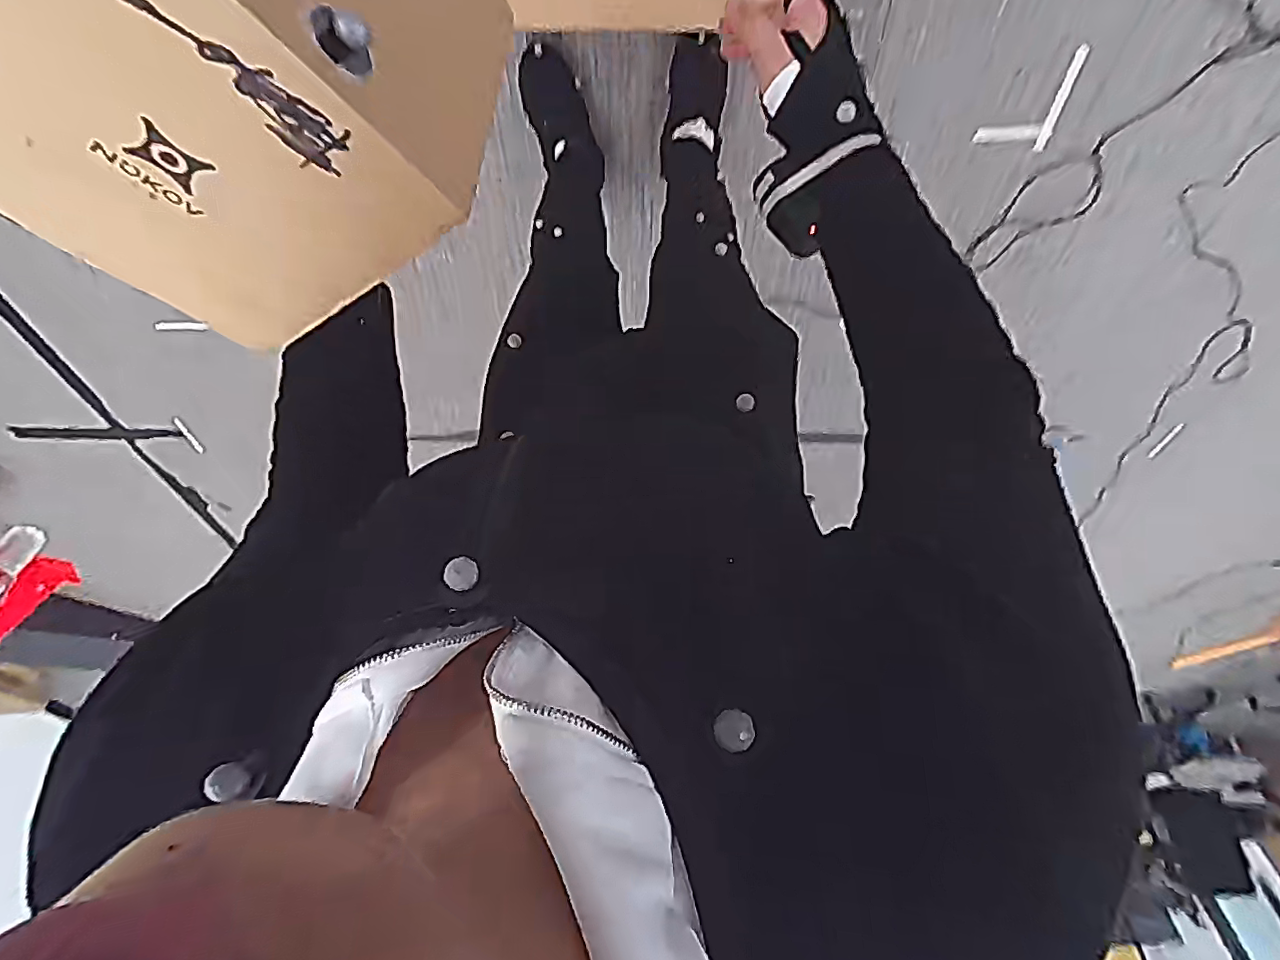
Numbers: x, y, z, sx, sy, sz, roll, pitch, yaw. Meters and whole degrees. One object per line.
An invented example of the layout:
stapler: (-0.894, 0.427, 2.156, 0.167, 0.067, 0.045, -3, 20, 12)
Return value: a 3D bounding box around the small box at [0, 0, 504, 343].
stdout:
small box: (-0.182, -0.199, 0.242, 0.179, 0.176, 0.168, -14, 150, 30)
